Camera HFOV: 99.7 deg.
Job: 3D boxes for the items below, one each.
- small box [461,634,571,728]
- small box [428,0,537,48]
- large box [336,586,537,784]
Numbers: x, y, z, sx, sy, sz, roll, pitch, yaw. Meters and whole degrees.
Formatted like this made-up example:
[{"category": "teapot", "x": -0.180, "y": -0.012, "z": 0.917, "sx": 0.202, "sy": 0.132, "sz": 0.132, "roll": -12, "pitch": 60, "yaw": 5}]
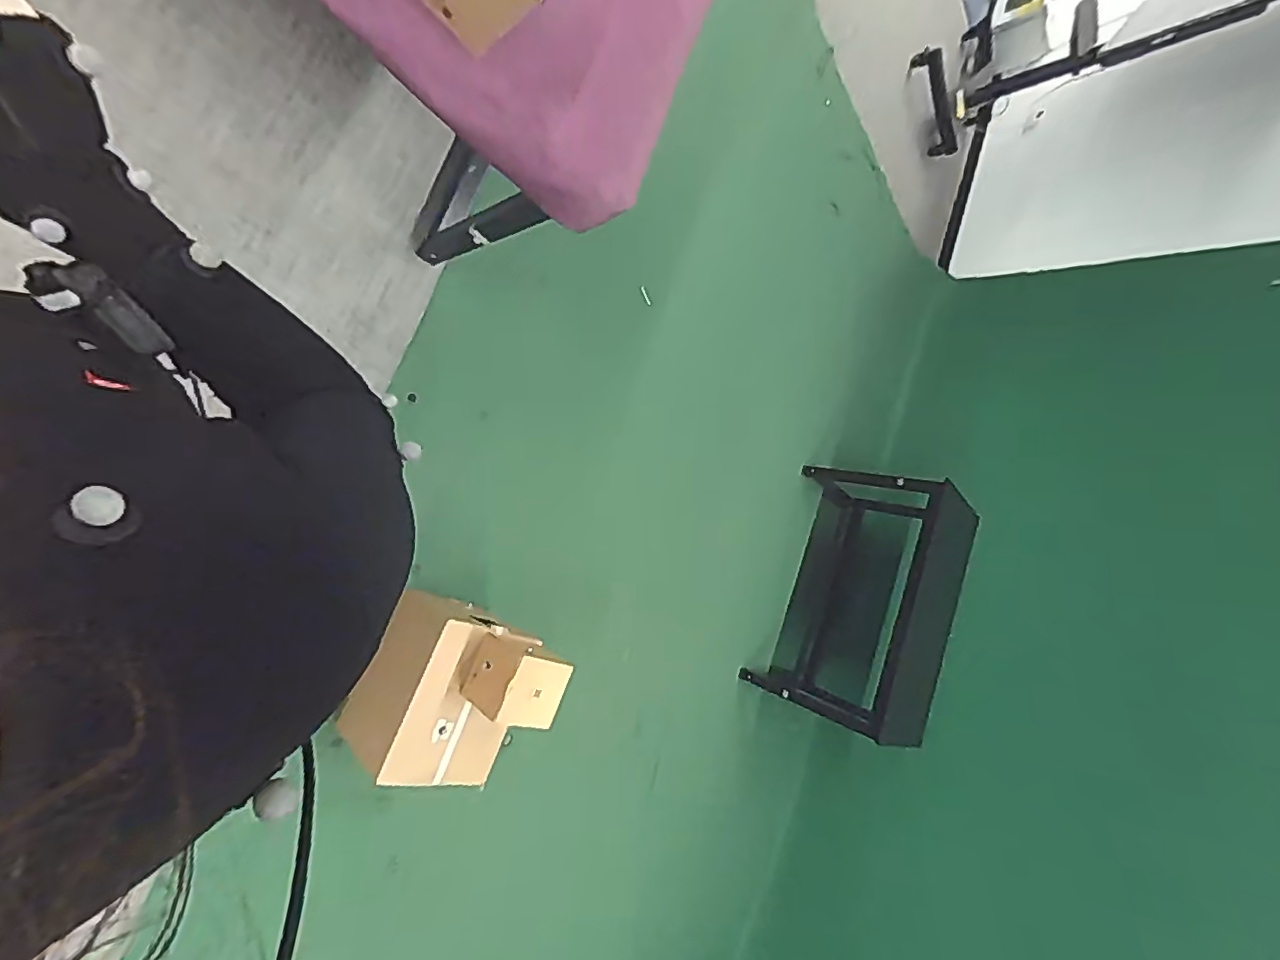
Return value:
[{"category": "small box", "x": -0.315, "y": 0.505, "z": 1.367, "sx": 0.179, "sy": 0.176, "sz": 0.168, "roll": 32, "pitch": 76, "yaw": -43}, {"category": "small box", "x": -0.197, "y": -0.706, "z": 0.672, "sx": 0.168, "sy": 0.176, "sz": 0.179, "roll": 30, "pitch": 77, "yaw": -43}, {"category": "large box", "x": -0.554, "y": 0.550, "z": 1.485, "sx": 0.320, "sy": 0.320, "sz": 0.408, "roll": 32, "pitch": 76, "yaw": -42}]
